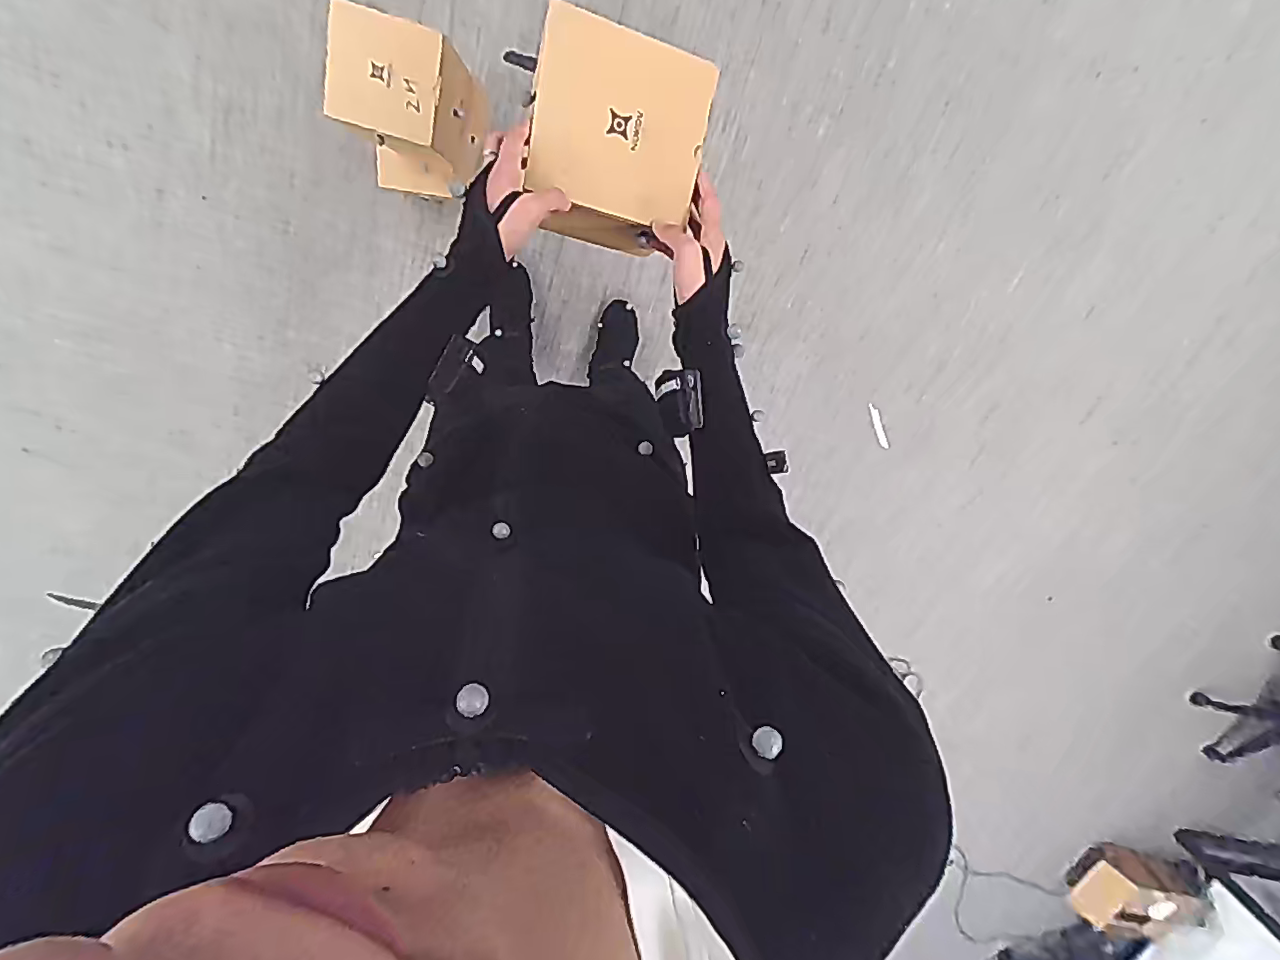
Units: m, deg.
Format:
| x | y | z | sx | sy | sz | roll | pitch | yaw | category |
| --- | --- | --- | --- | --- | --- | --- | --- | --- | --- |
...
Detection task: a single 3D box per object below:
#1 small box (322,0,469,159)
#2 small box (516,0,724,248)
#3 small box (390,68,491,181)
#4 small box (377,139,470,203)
| x | y | z | sx | sy | sz | roll | pitch | yaw | category |
| --- | --- | --- | --- | --- | --- | --- | --- | --- | --- |
| -0.412 | -0.678 | 0.931 | 0.179 | 0.176 | 0.168 | 13 | 110 | -9 | small box |
| -0.036 | -0.366 | 0.593 | 0.179 | 0.176 | 0.168 | 7 | 103 | -18 | small box |
| -0.410 | -0.733 | 1.086 | 0.168 | 0.176 | 0.179 | 20 | 109 | -11 | small box |
| -0.491 | -0.756 | 1.246 | 0.168 | 0.176 | 0.179 | 6 | 111 | -7 | small box |
